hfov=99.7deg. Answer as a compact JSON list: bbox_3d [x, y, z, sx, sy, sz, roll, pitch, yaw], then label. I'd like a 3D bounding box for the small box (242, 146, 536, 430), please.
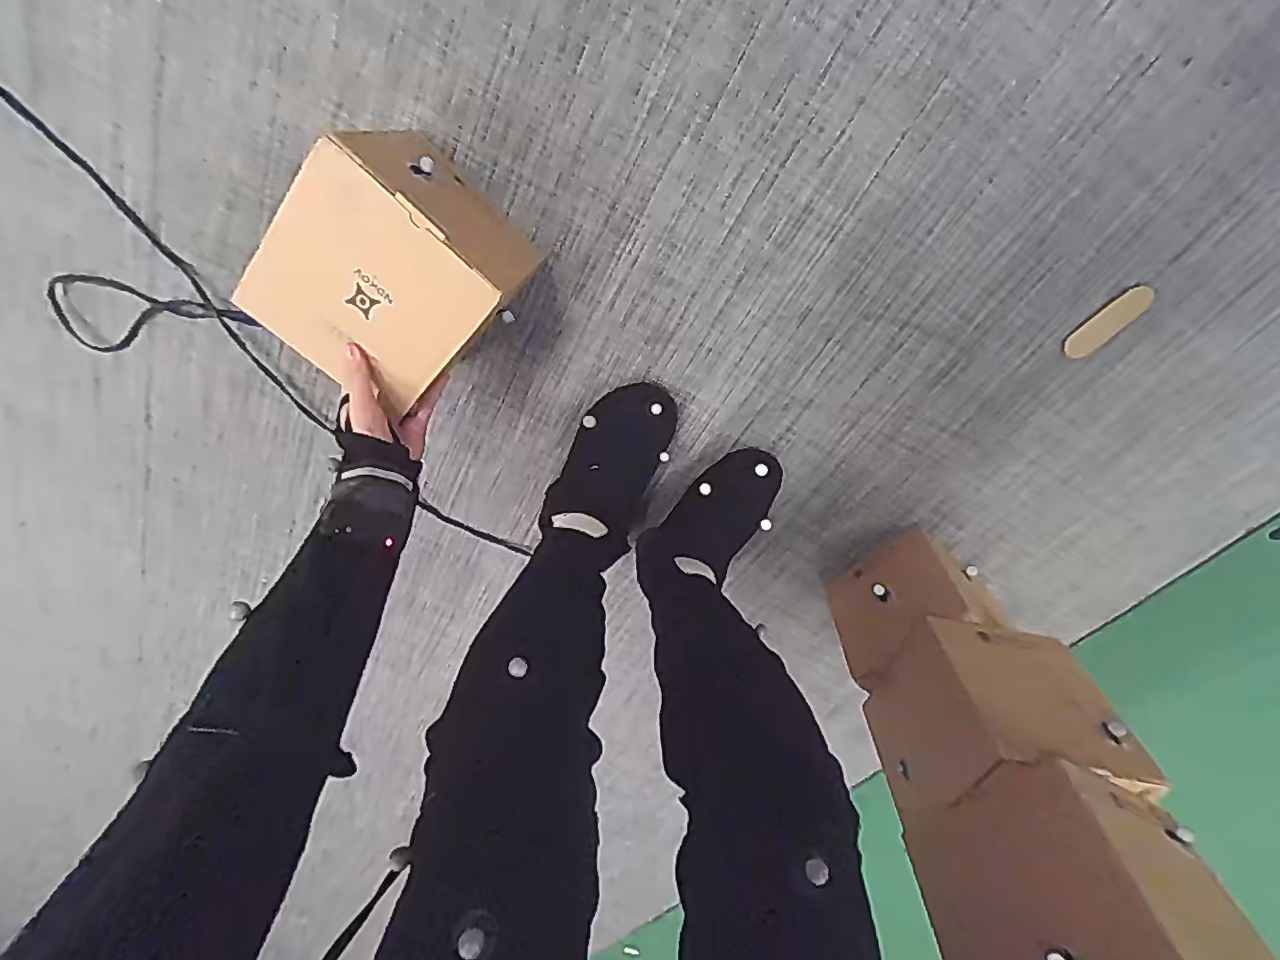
[{"bbox_3d":[-0.220,-0.188,0.522,0.179,0.176,0.168,-39,111,25],"label":"small box"}]

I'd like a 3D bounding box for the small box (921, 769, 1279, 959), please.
[{"bbox_3d":[0.378,0.373,0.447,0.168,0.176,0.179,29,121,-15],"label":"small box"}]

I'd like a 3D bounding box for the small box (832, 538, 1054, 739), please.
[{"bbox_3d":[0.390,0.204,0.730,0.179,0.176,0.168,36,117,-17],"label":"small box"}]
